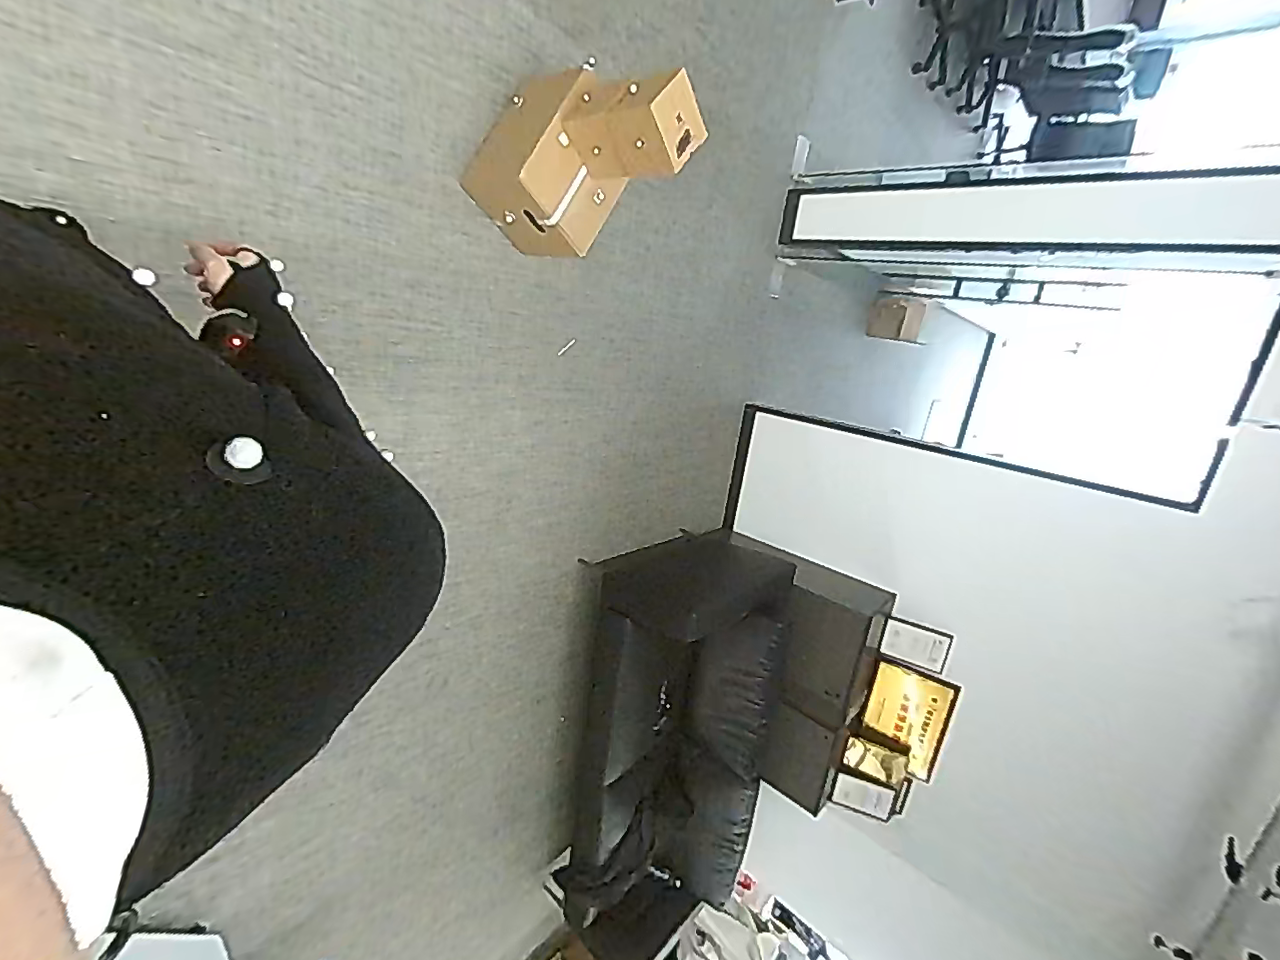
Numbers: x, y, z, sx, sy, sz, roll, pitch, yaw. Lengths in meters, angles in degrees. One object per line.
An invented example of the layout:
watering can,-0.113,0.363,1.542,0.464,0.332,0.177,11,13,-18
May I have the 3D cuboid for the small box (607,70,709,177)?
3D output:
small box,0.048,-0.926,1.420,0.168,0.176,0.179,-55,139,-16
